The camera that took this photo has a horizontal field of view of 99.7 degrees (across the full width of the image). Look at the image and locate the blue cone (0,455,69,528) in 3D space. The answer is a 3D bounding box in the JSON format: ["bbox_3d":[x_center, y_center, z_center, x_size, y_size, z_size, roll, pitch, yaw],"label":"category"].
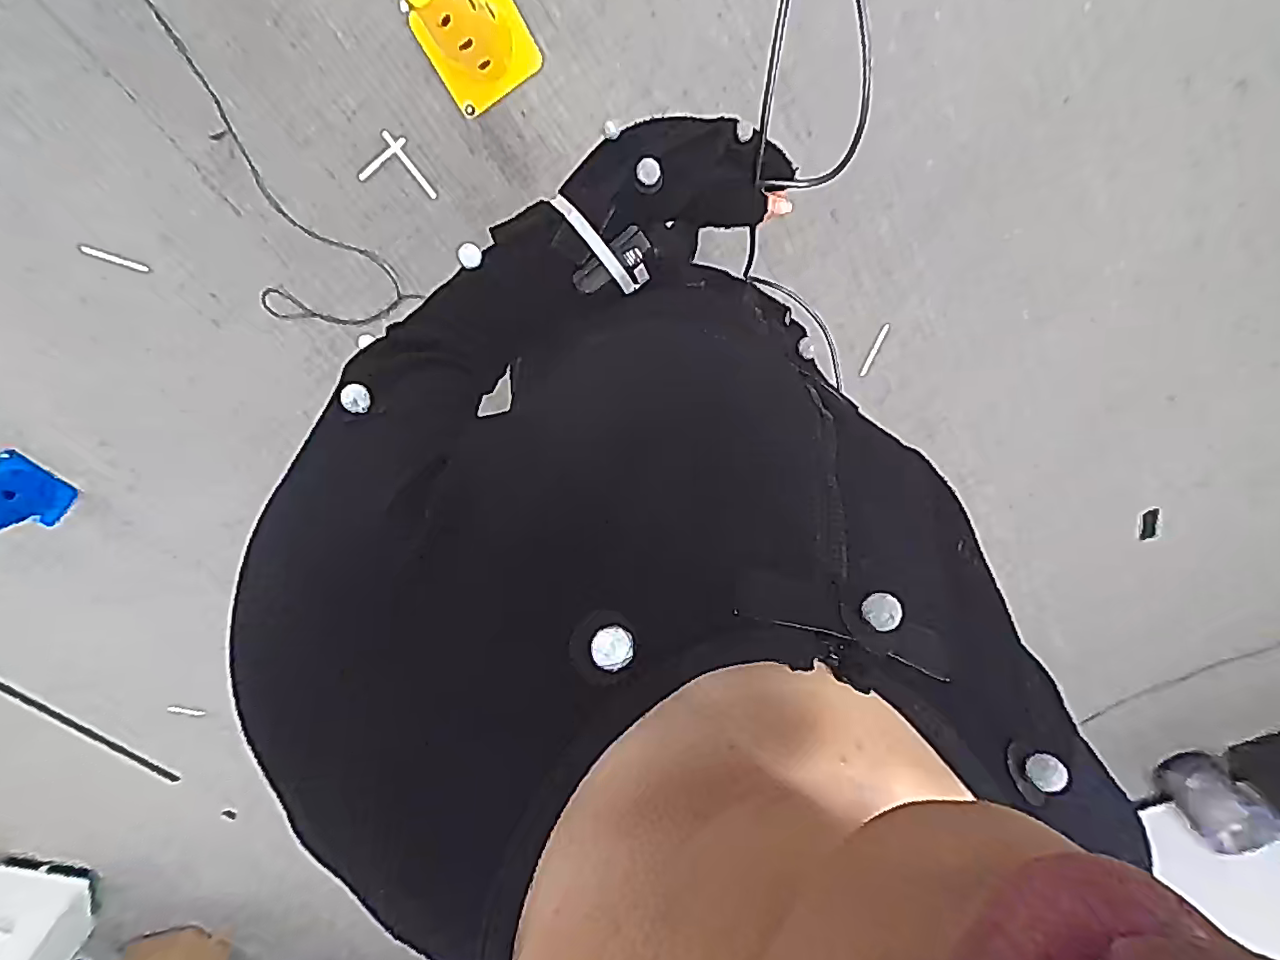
[{"bbox_3d":[-1.764,0.120,1.411,0.193,0.380,0.192,-35,114,17],"label":"blue cone"}]
